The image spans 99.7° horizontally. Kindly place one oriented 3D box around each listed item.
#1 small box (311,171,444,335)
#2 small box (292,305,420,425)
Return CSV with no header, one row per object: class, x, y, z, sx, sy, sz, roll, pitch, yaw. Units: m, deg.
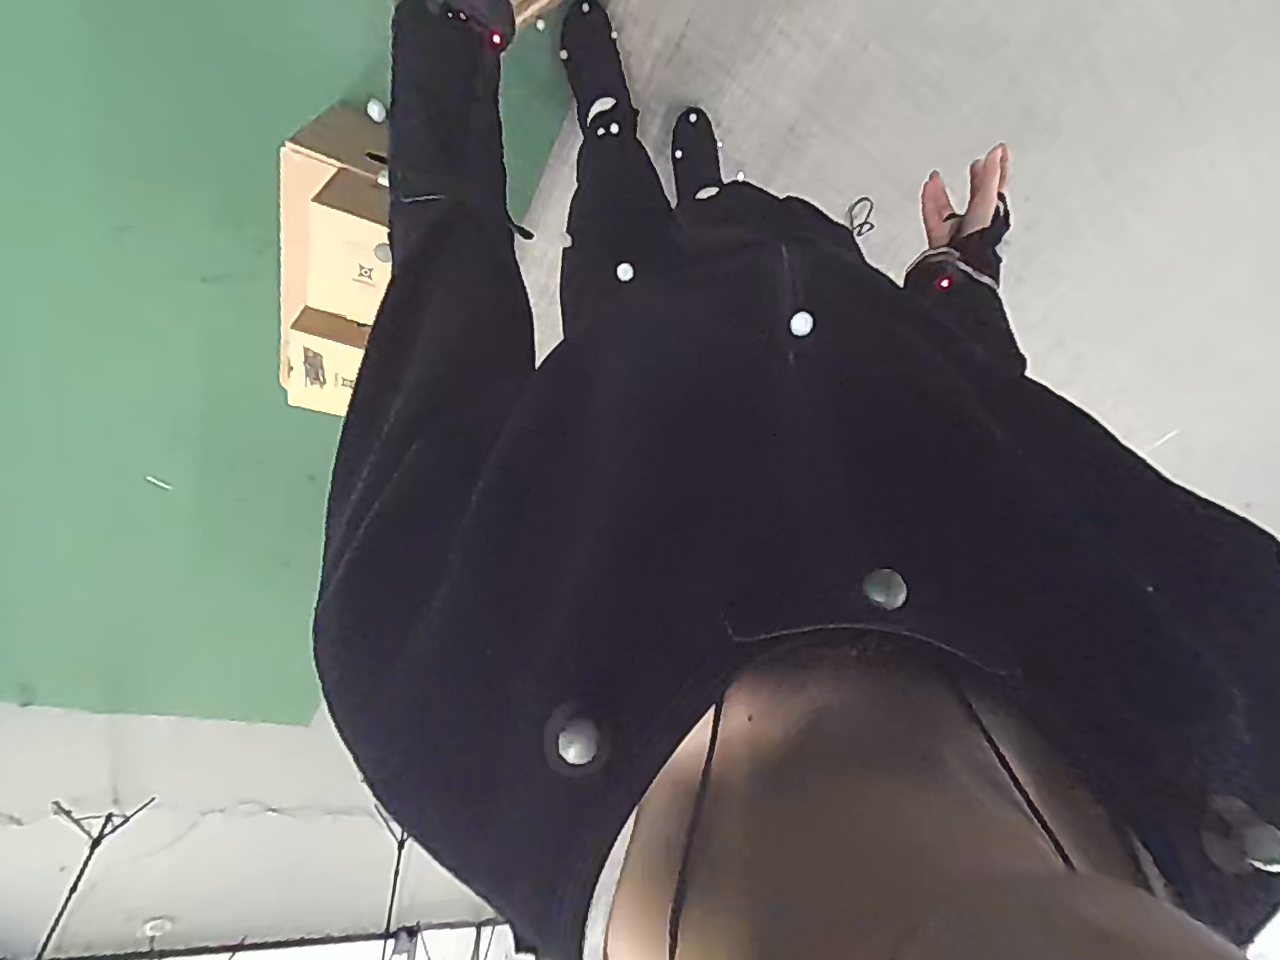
small box,-0.438,-0.383,0.914,0.168,0.176,0.179,13,130,-22
small box,-0.541,-0.237,1.039,0.179,0.176,0.168,14,130,-21
